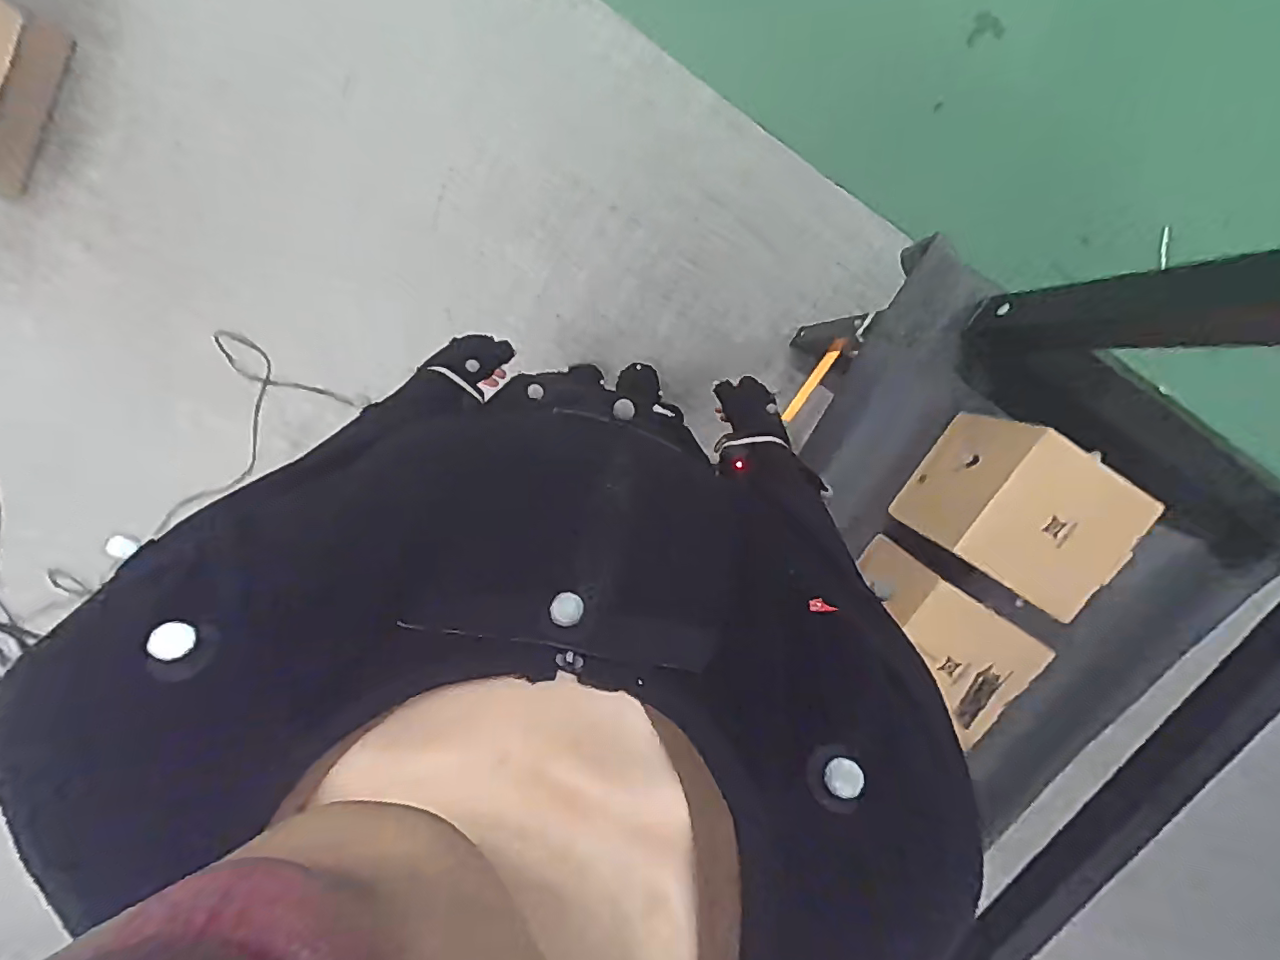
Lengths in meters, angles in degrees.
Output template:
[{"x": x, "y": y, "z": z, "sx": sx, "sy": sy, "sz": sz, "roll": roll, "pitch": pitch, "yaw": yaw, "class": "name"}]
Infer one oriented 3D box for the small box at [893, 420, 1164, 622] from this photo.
[{"x": 0.459, "y": 0.038, "z": 0.674, "sx": 0.179, "sy": 0.176, "sz": 0.168, "roll": 31, "pitch": 101, "yaw": -8, "class": "small box"}]
